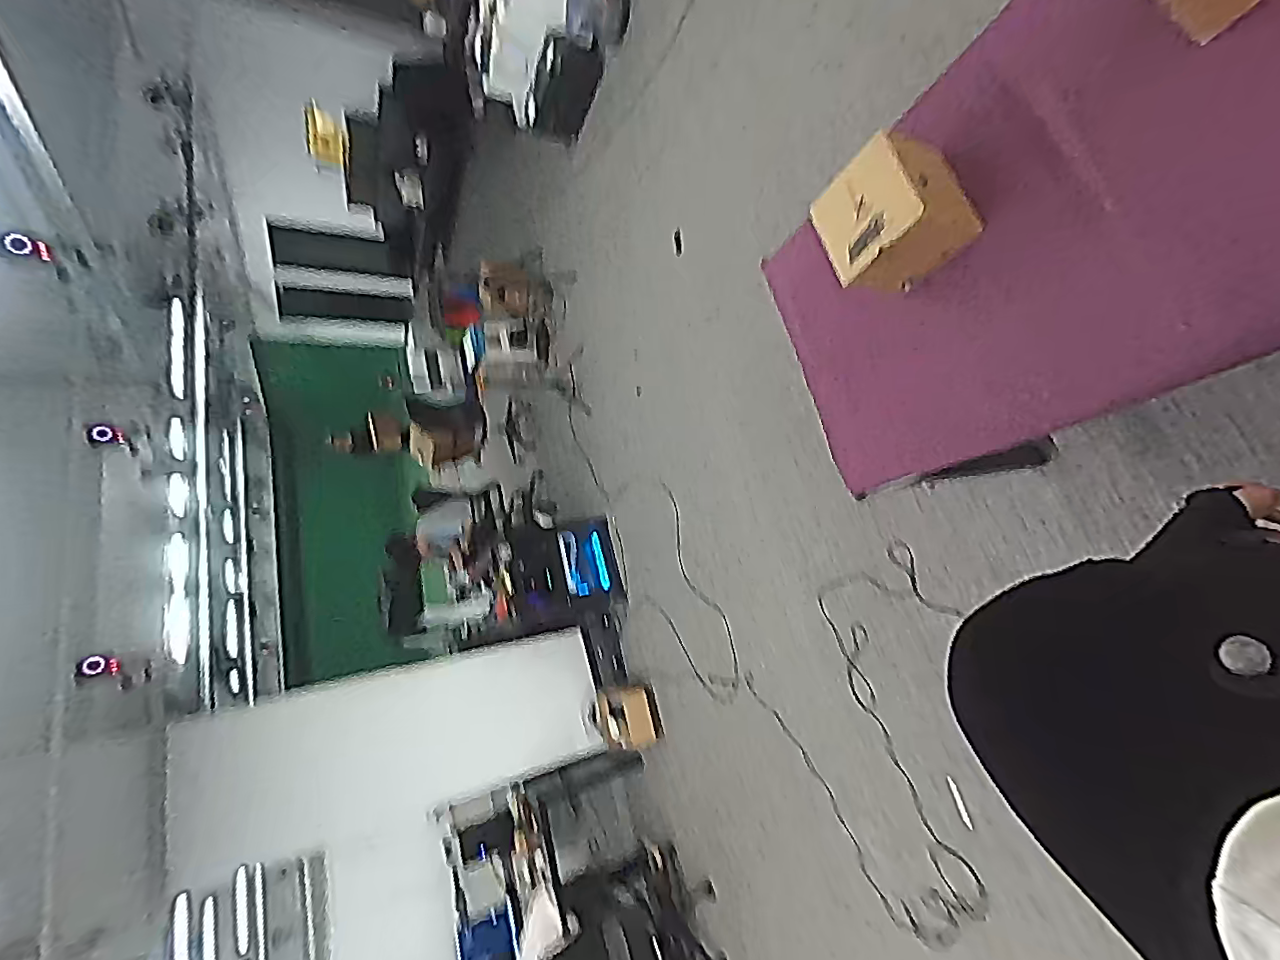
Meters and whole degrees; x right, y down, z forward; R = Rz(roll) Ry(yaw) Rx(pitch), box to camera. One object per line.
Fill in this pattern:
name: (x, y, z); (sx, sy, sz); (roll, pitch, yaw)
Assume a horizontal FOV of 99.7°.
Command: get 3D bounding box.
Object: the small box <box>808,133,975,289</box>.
small box: (0.434, -0.451, 0.935); (0.168, 0.176, 0.179); (-41, 59, 53)
